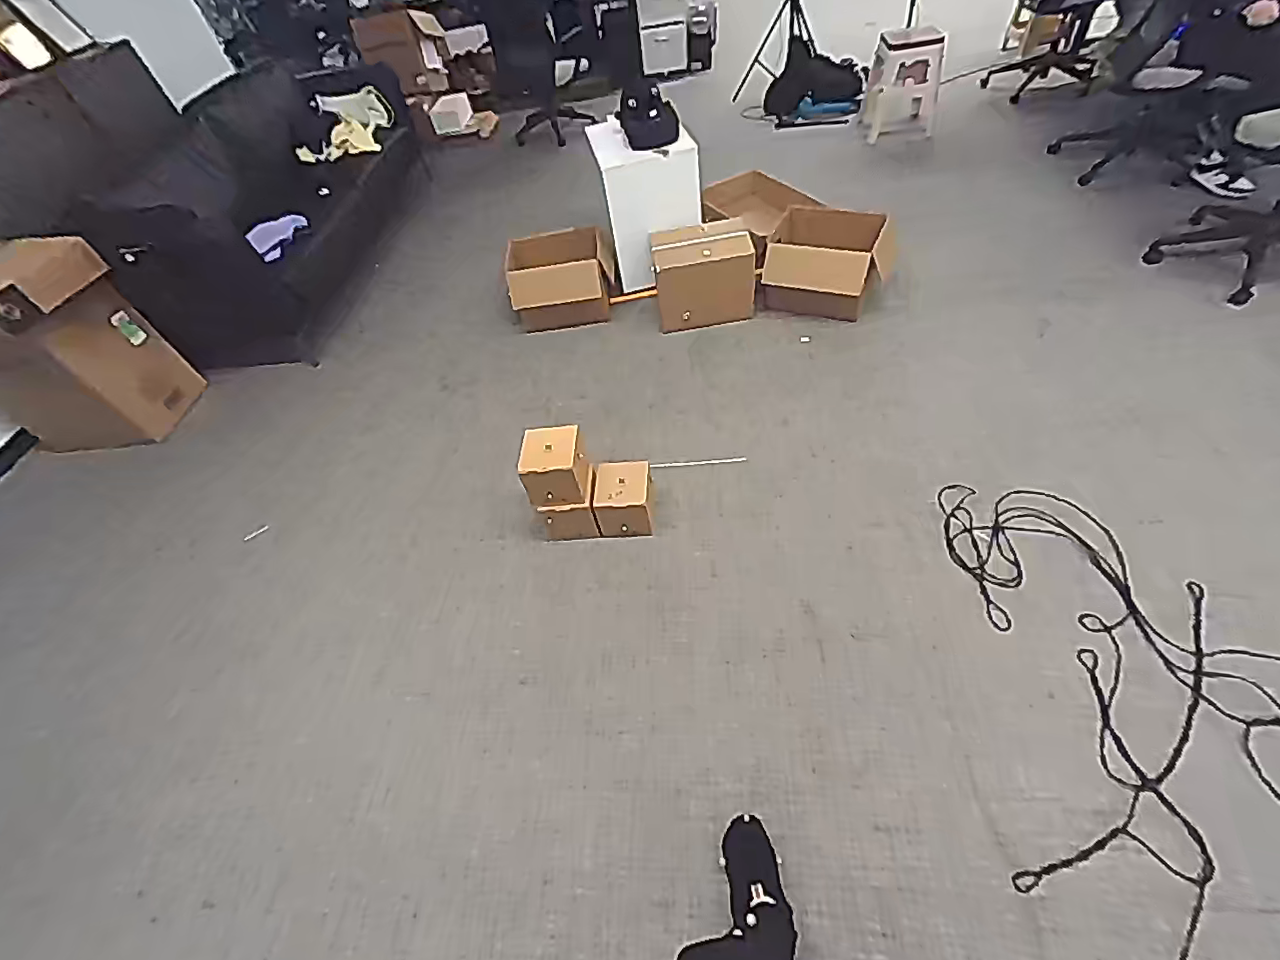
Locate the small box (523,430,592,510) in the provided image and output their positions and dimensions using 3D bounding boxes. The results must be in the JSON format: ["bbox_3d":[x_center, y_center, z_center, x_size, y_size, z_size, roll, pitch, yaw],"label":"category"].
[{"bbox_3d":[-0.244,-0.028,1.654,0.168,0.176,0.179,-4,50,7],"label":"small box"}]

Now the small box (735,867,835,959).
[{"bbox_3d":[0.276,0.876,1.051,0.168,0.176,0.179,5,58,8],"label":"small box"}]
